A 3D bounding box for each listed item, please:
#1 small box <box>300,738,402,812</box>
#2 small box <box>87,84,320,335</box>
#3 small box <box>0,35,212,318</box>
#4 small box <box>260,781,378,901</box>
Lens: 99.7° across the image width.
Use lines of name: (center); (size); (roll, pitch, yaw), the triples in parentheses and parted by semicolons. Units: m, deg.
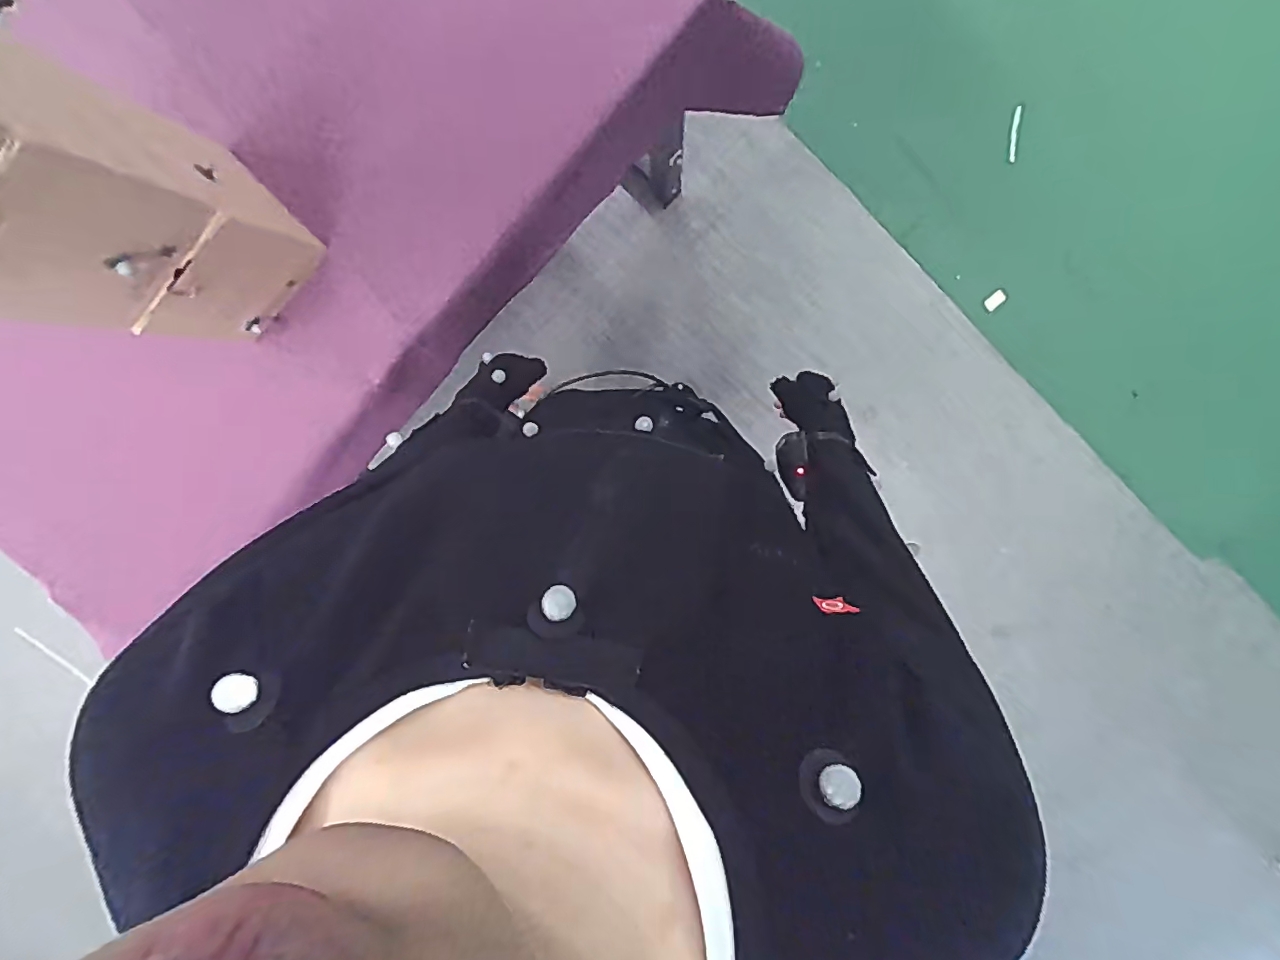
small box: (-0.850, 0.918, 1.609); (0.168, 0.176, 0.179); (42, 101, -5)
small box: (-0.521, -0.285, 0.620); (0.168, 0.176, 0.179); (-44, 95, 10)
small box: (-0.536, -0.259, 0.459); (0.168, 0.176, 0.179); (-44, 96, 10)
small box: (-0.850, 0.959, 1.451); (0.179, 0.176, 0.168); (42, 100, -5)
